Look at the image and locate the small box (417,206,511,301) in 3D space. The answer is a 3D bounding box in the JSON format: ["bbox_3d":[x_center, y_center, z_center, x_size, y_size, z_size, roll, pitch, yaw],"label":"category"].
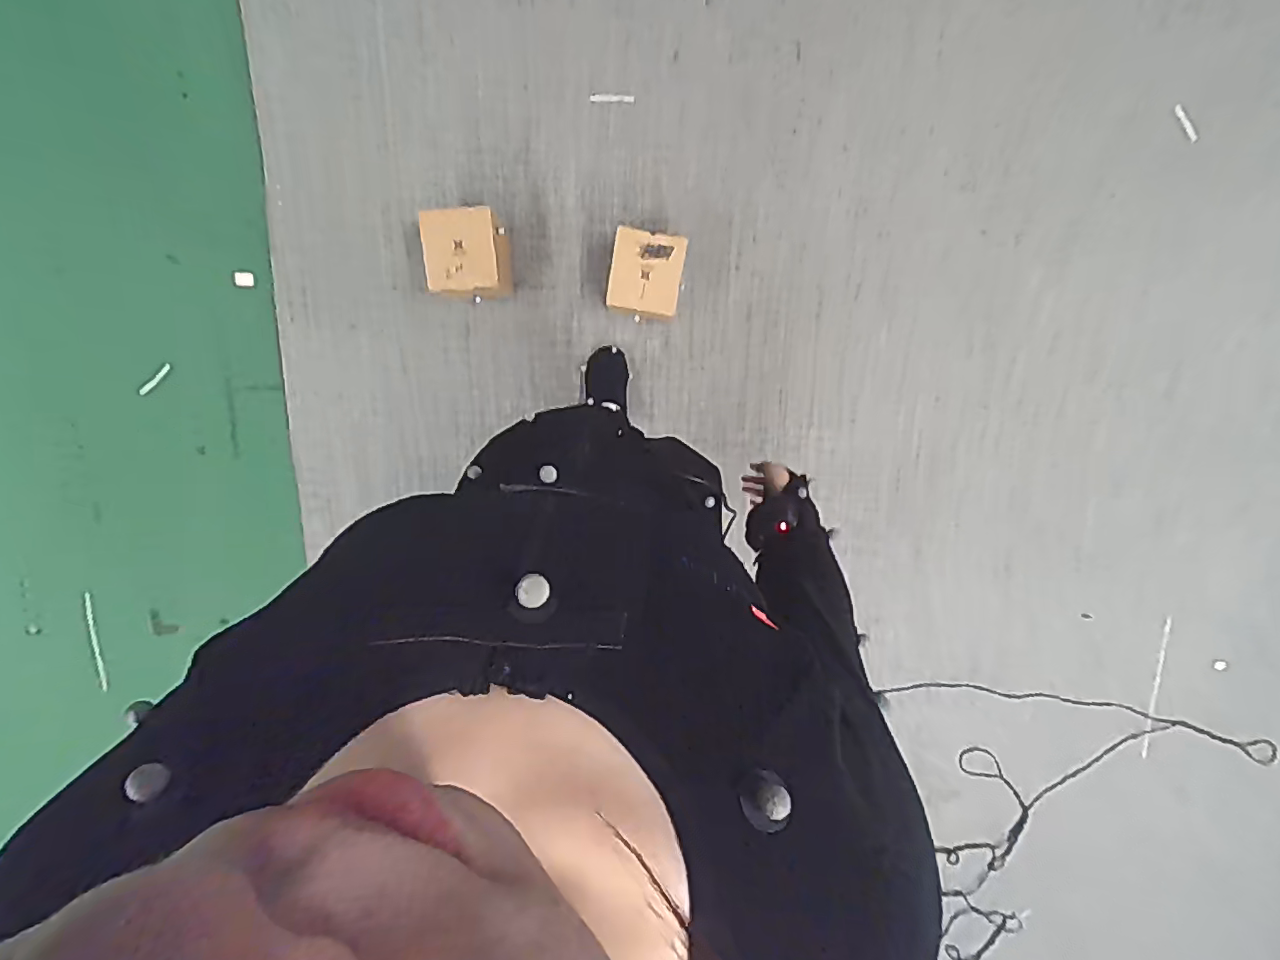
[{"bbox_3d":[-0.414,-0.536,1.298,0.168,0.176,0.179,-4,101,0],"label":"small box"}]

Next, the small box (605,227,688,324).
[{"bbox_3d":[0.012,-0.487,1.312,0.168,0.176,0.179,10,101,-2],"label":"small box"}]
